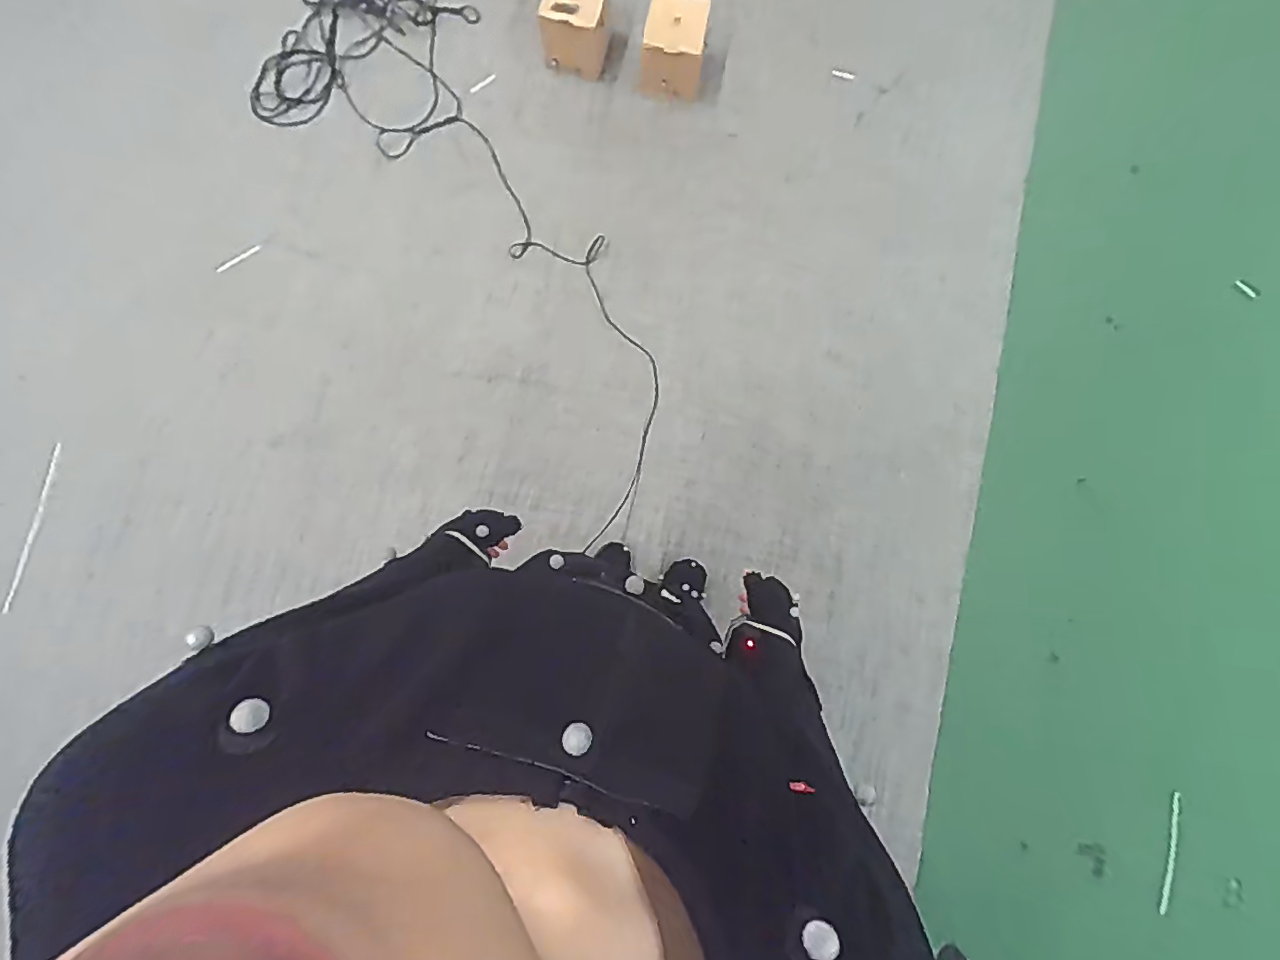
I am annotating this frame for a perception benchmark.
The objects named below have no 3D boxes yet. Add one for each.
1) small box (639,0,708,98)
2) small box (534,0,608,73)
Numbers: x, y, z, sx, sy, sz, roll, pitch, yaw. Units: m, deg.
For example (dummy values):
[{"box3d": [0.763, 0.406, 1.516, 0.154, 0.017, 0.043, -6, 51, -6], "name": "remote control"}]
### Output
[{"box3d": [0.092, -1.259, 1.560, 0.168, 0.176, 0.179, 10, 85, 0], "name": "small box"}, {"box3d": [-0.190, -1.331, 1.560, 0.168, 0.176, 0.179, 15, 84, 0], "name": "small box"}]
